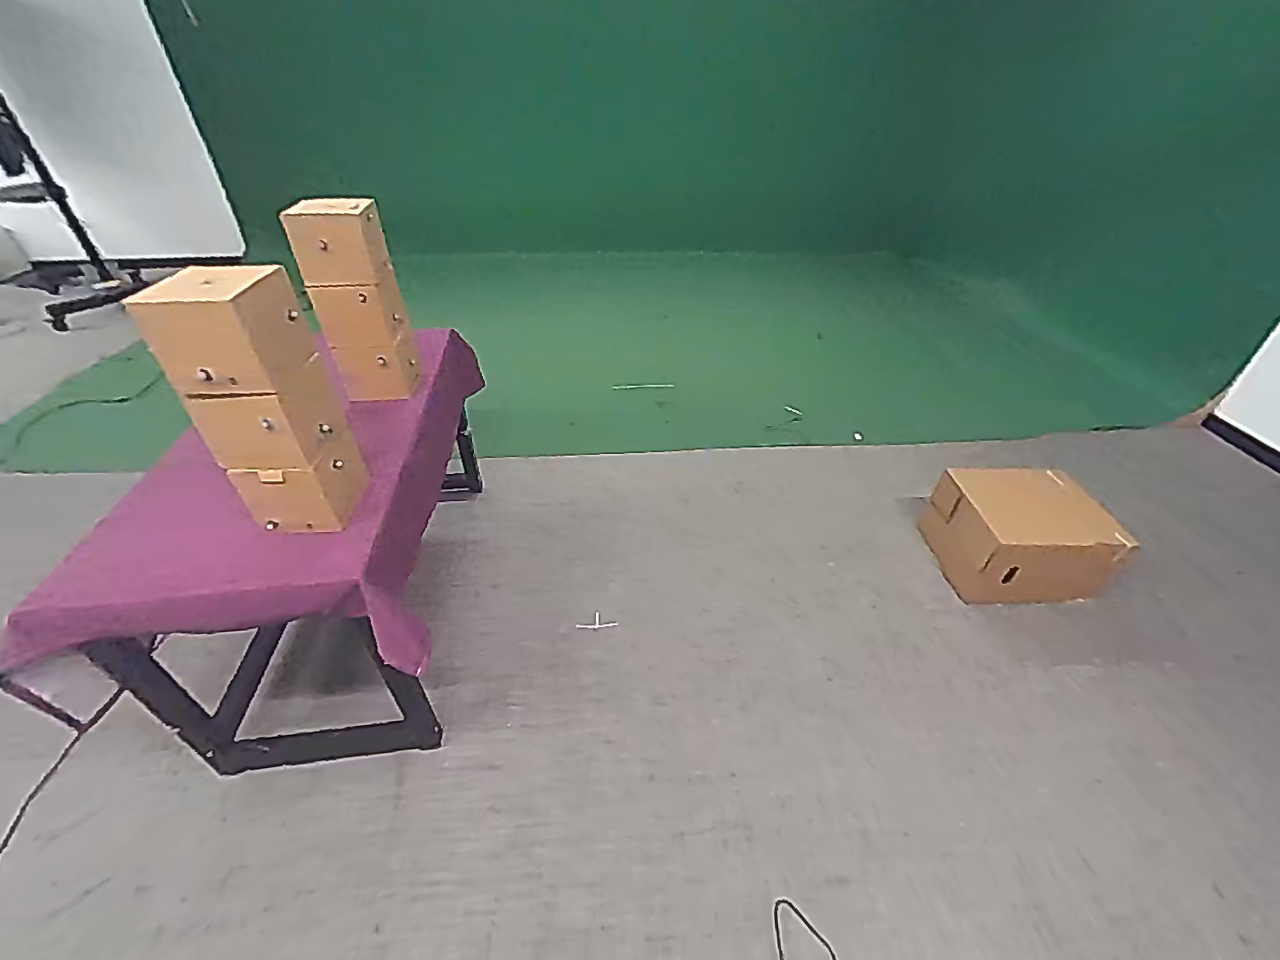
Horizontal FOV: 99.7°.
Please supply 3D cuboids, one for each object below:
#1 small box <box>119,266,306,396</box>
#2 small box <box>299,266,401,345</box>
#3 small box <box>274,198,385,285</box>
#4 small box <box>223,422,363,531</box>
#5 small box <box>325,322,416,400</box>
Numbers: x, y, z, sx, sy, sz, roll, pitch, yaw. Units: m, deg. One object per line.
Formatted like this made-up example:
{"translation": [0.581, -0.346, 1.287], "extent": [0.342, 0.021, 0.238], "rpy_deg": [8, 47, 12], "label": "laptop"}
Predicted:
{"translation": [-0.719, -0.260, 0.940], "extent": [0.168, 0.176, 0.179], "rpy_deg": [-2, 39, -2], "label": "small box"}
{"translation": [-0.778, -0.474, 1.470], "extent": [0.179, 0.176, 0.168], "rpy_deg": [-3, 39, -5], "label": "small box"}
{"translation": [-0.773, -0.603, 1.367], "extent": [0.179, 0.176, 0.168], "rpy_deg": [-6, 40, -7], "label": "small box"}
{"translation": [-0.716, -0.003, 1.143], "extent": [0.168, 0.176, 0.179], "rpy_deg": [-2, 38, -3], "label": "small box"}
{"translation": [-0.770, -0.344, 1.568], "extent": [0.179, 0.176, 0.168], "rpy_deg": [-4, 39, -5], "label": "small box"}
